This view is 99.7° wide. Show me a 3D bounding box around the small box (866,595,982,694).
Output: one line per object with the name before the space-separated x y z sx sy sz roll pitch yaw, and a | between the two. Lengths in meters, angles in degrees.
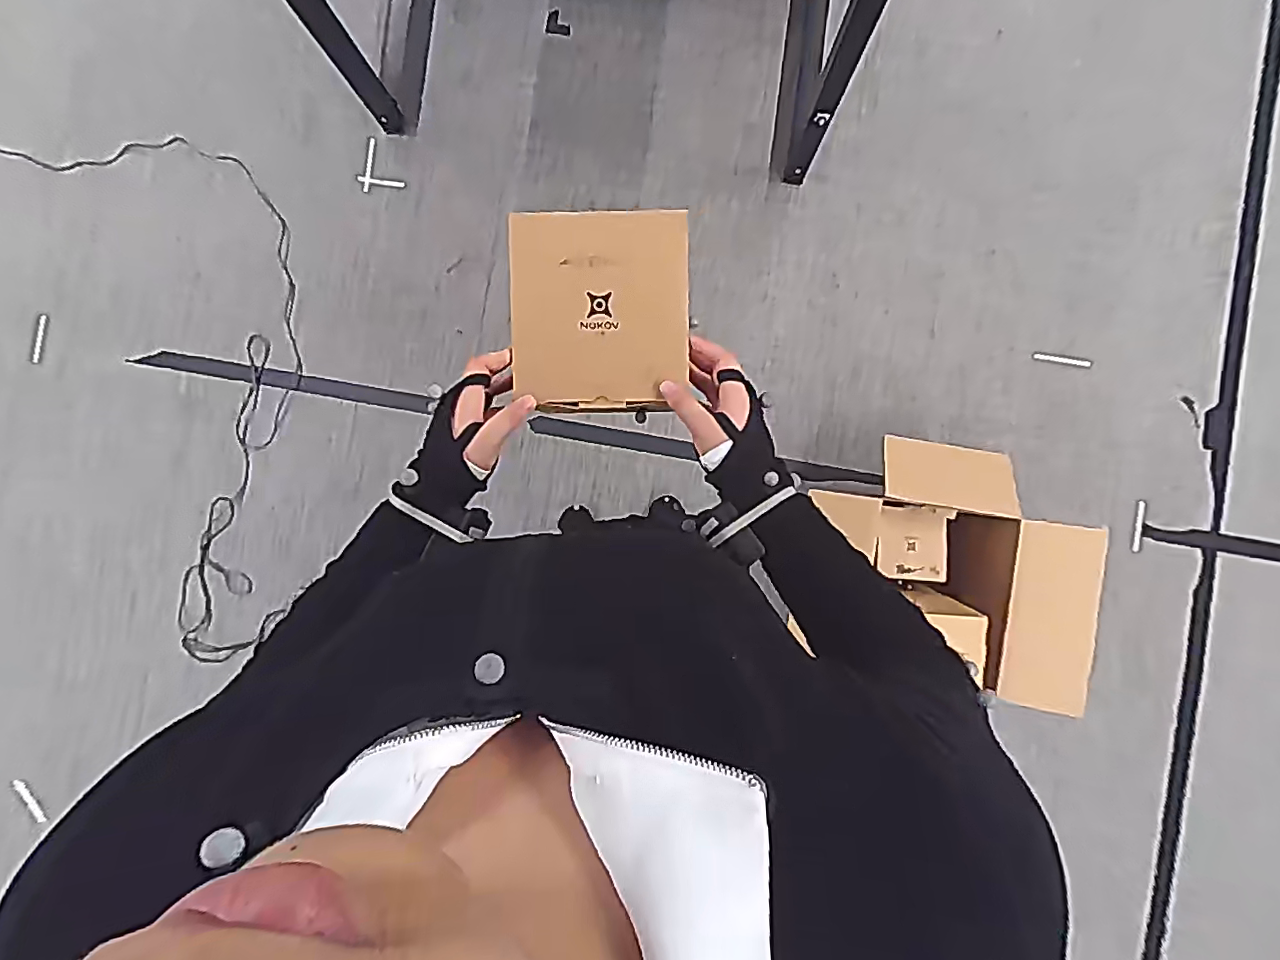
small box | 0.626 0.360 1.213 0.179 0.176 0.168 3 93 2

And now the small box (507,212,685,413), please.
small box | -0.039 -0.162 0.578 0.168 0.176 0.179 -1 94 0
